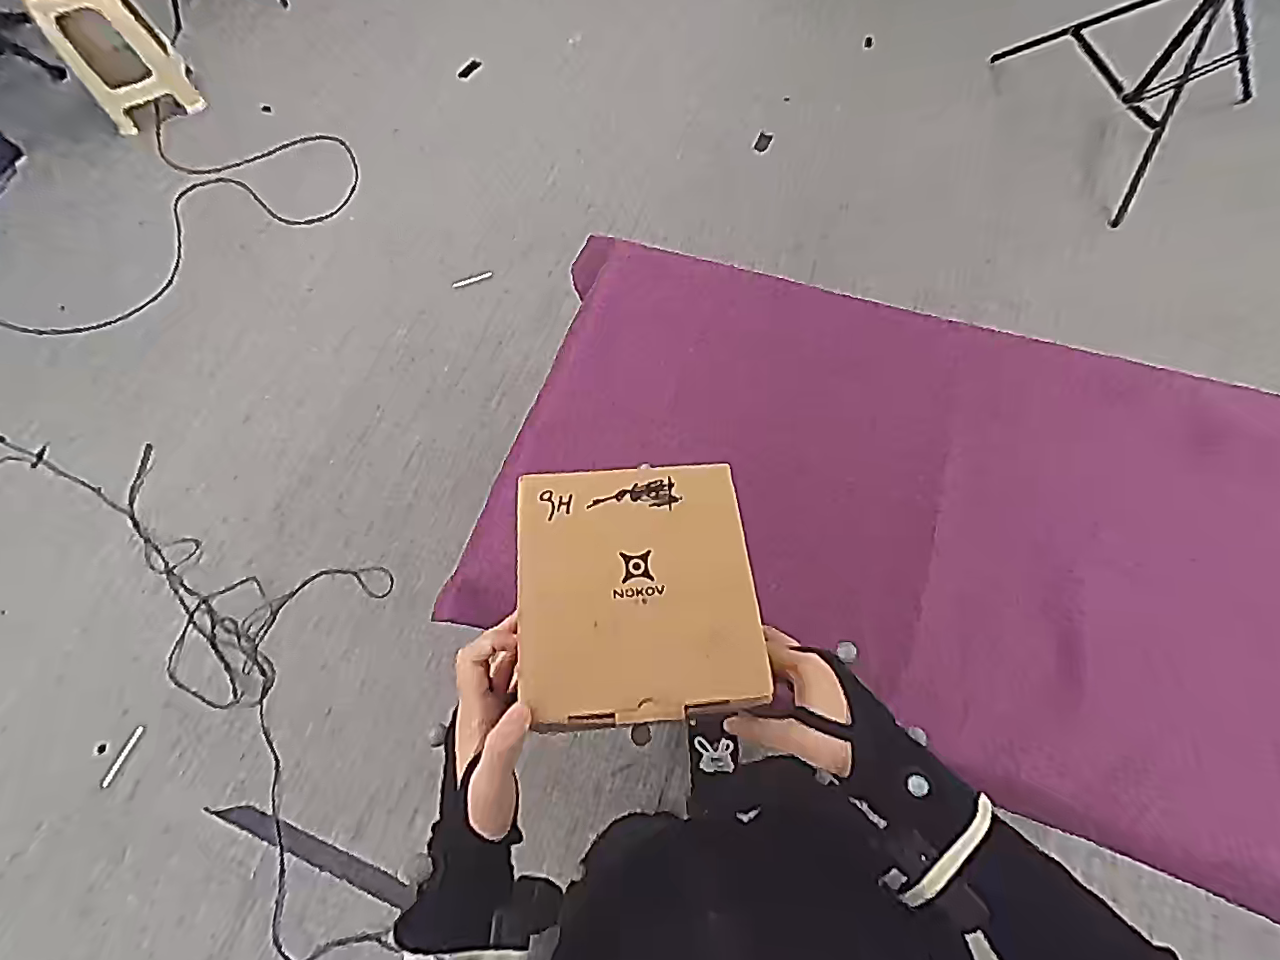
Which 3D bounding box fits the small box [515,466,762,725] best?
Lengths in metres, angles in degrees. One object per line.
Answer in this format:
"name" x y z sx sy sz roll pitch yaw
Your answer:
"small box" -0.010 0.105 0.458 0.168 0.176 0.179 -3 65 -6
